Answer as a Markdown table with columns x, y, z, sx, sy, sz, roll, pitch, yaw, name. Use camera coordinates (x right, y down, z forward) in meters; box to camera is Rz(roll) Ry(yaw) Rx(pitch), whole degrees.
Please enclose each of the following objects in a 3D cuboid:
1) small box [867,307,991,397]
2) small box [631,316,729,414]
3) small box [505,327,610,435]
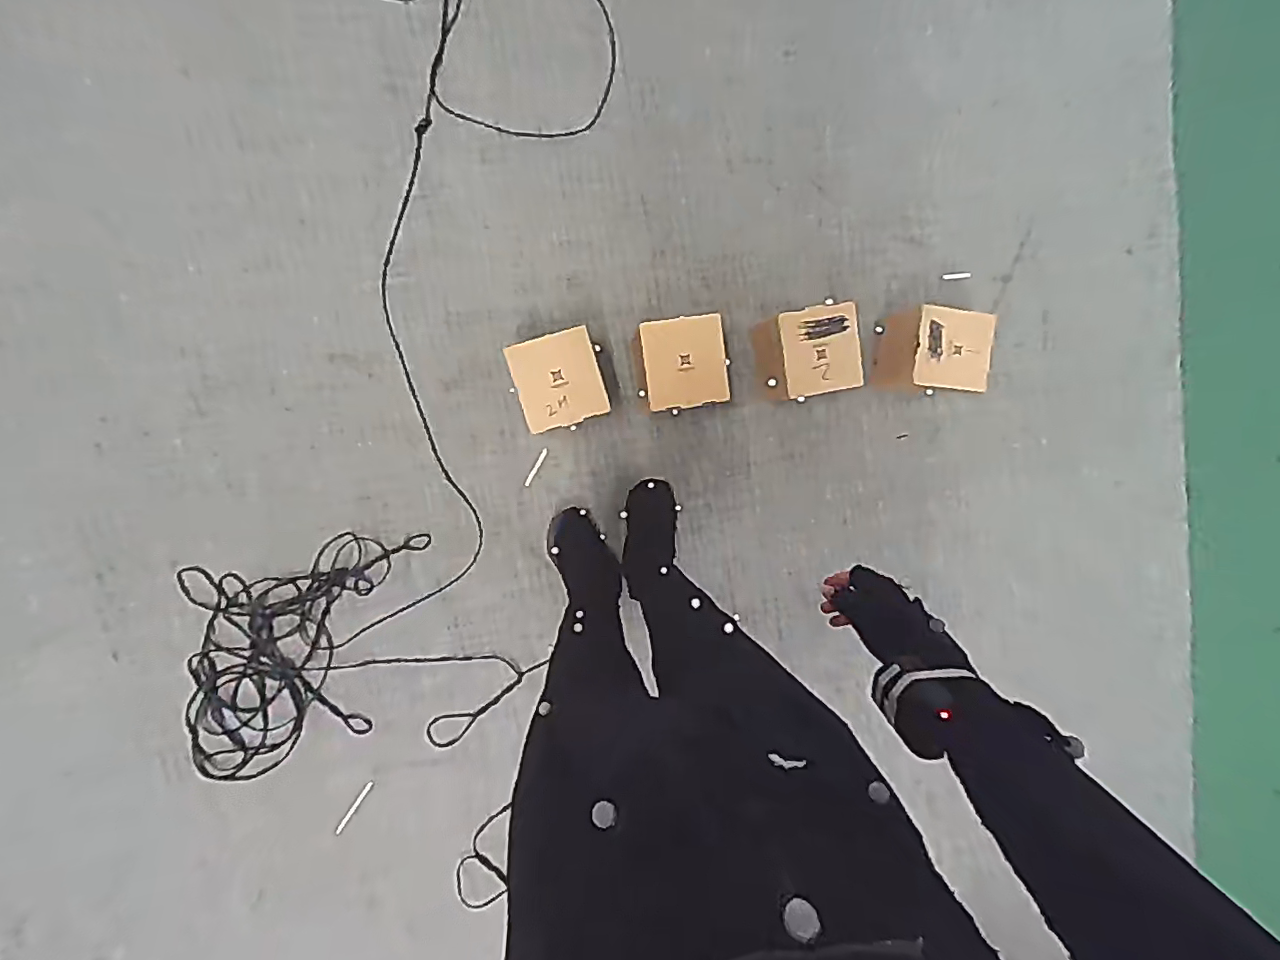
| x | y | z | sx | sy | sz | roll | pitch | yaw | name |
| --- | --- | --- | --- | --- | --- | --- | --- | --- | --- |
| 0.644 | -0.281 | 1.224 | 0.179 | 0.176 | 0.168 | 5 | 96 | -9 | small box |
| 0.078 | -0.238 | 1.157 | 0.168 | 0.176 | 0.179 | -9 | 97 | -6 | small box |
| -0.169 | -0.198 | 1.127 | 0.168 | 0.176 | 0.179 | -17 | 98 | -4 | small box |
